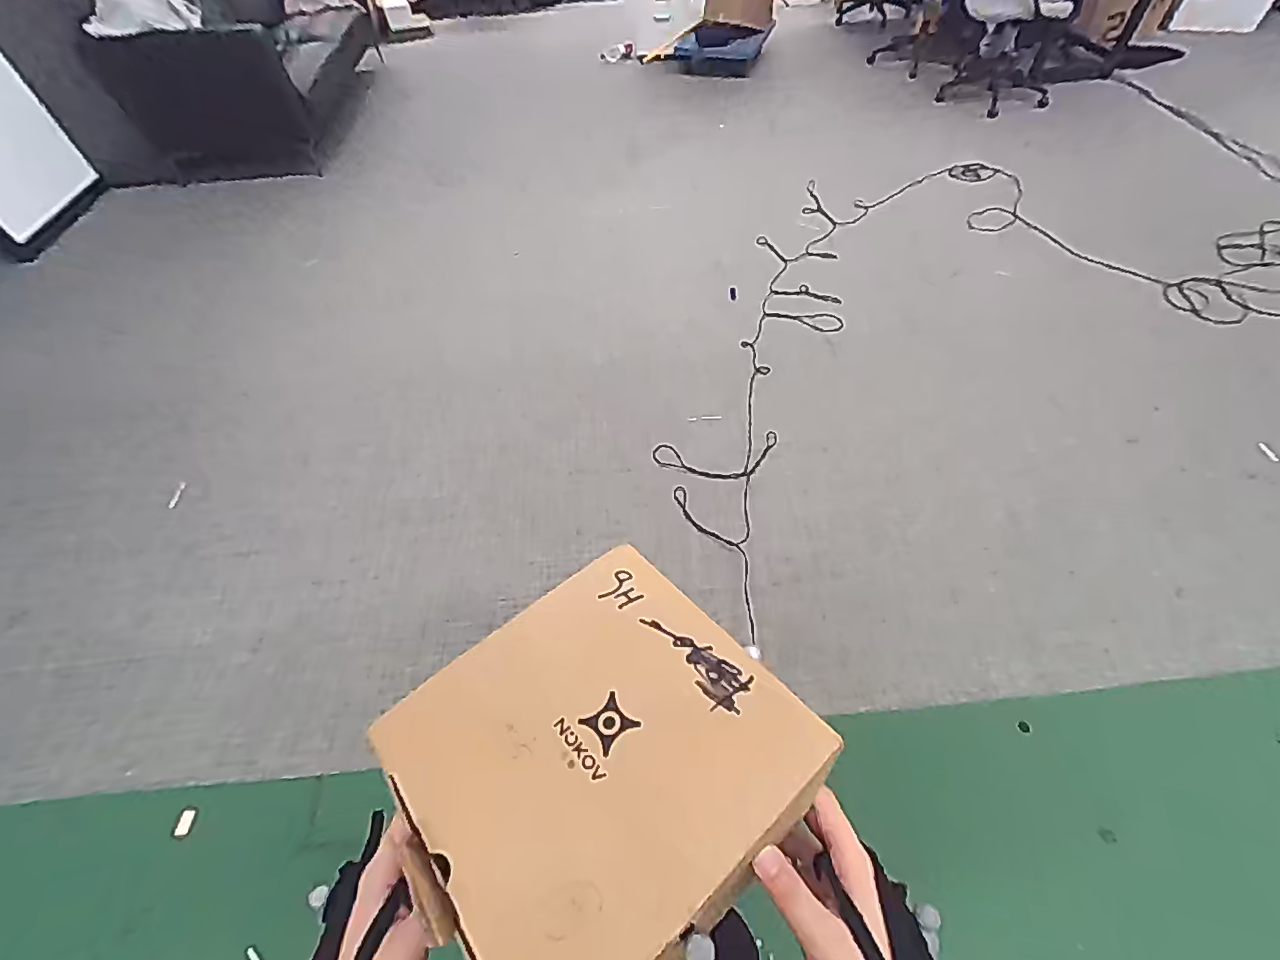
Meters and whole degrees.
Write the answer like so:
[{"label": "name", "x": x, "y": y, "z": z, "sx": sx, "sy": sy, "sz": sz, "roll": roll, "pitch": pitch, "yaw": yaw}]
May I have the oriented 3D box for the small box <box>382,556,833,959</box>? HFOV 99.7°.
[{"label": "small box", "x": -0.013, "y": 0.189, "z": 0.328, "sx": 0.179, "sy": 0.176, "sz": 0.168, "roll": -34, "pitch": 52, "yaw": -24}]
